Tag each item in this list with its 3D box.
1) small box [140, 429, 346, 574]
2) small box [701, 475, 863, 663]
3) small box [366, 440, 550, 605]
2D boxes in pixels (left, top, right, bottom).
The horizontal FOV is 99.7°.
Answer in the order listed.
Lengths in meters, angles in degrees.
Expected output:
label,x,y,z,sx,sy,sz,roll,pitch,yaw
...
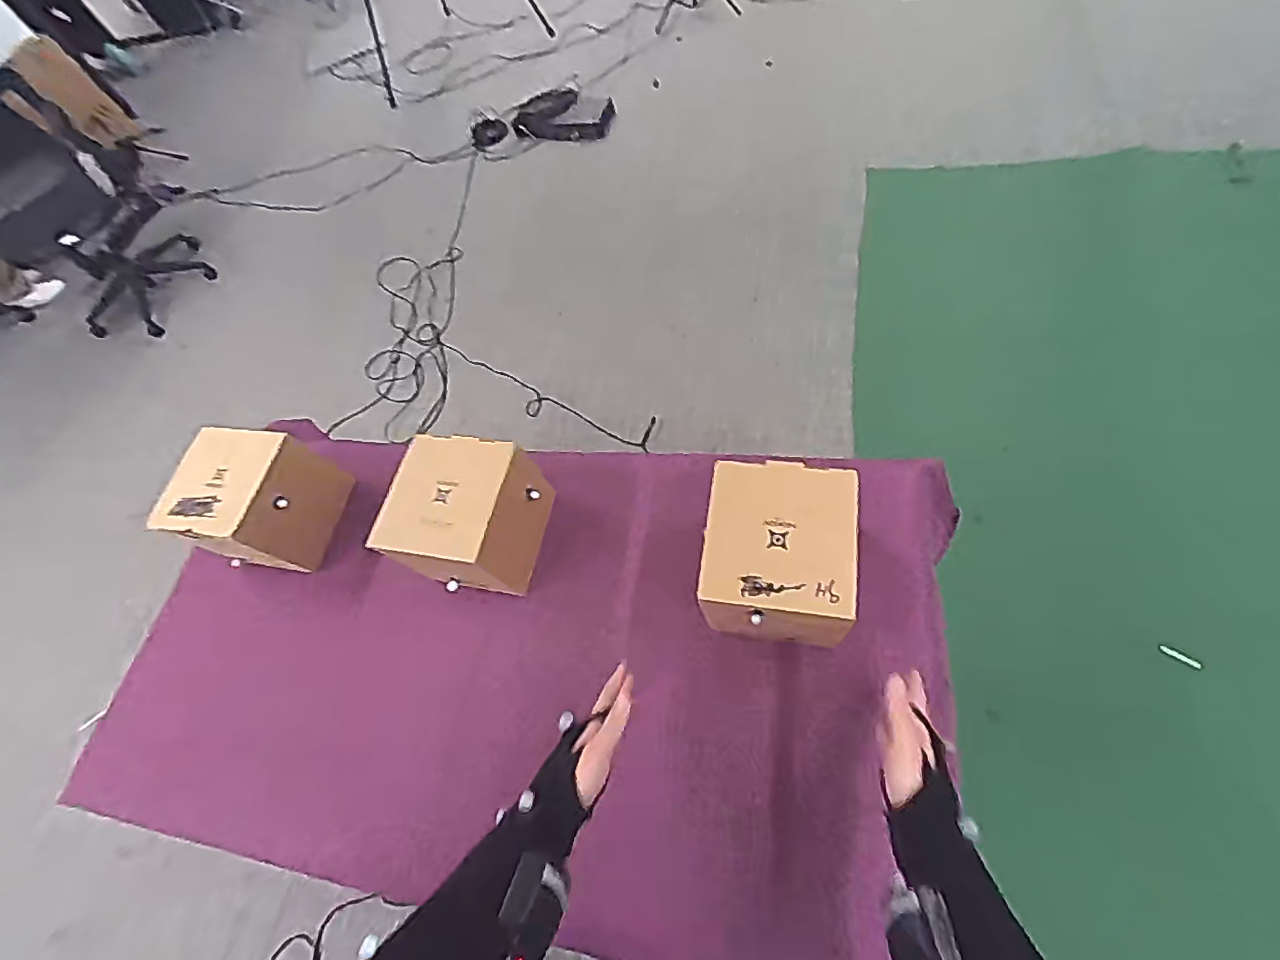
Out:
label,x,y,z,sx,sy,sz,roll,pitch,yaw
small box,-0.614,0.040,0.863,0.168,0.176,0.179,6,66,13
small box,0.174,0.114,0.674,0.168,0.176,0.179,6,65,15
small box,-0.245,0.065,0.783,0.168,0.176,0.179,7,66,15
